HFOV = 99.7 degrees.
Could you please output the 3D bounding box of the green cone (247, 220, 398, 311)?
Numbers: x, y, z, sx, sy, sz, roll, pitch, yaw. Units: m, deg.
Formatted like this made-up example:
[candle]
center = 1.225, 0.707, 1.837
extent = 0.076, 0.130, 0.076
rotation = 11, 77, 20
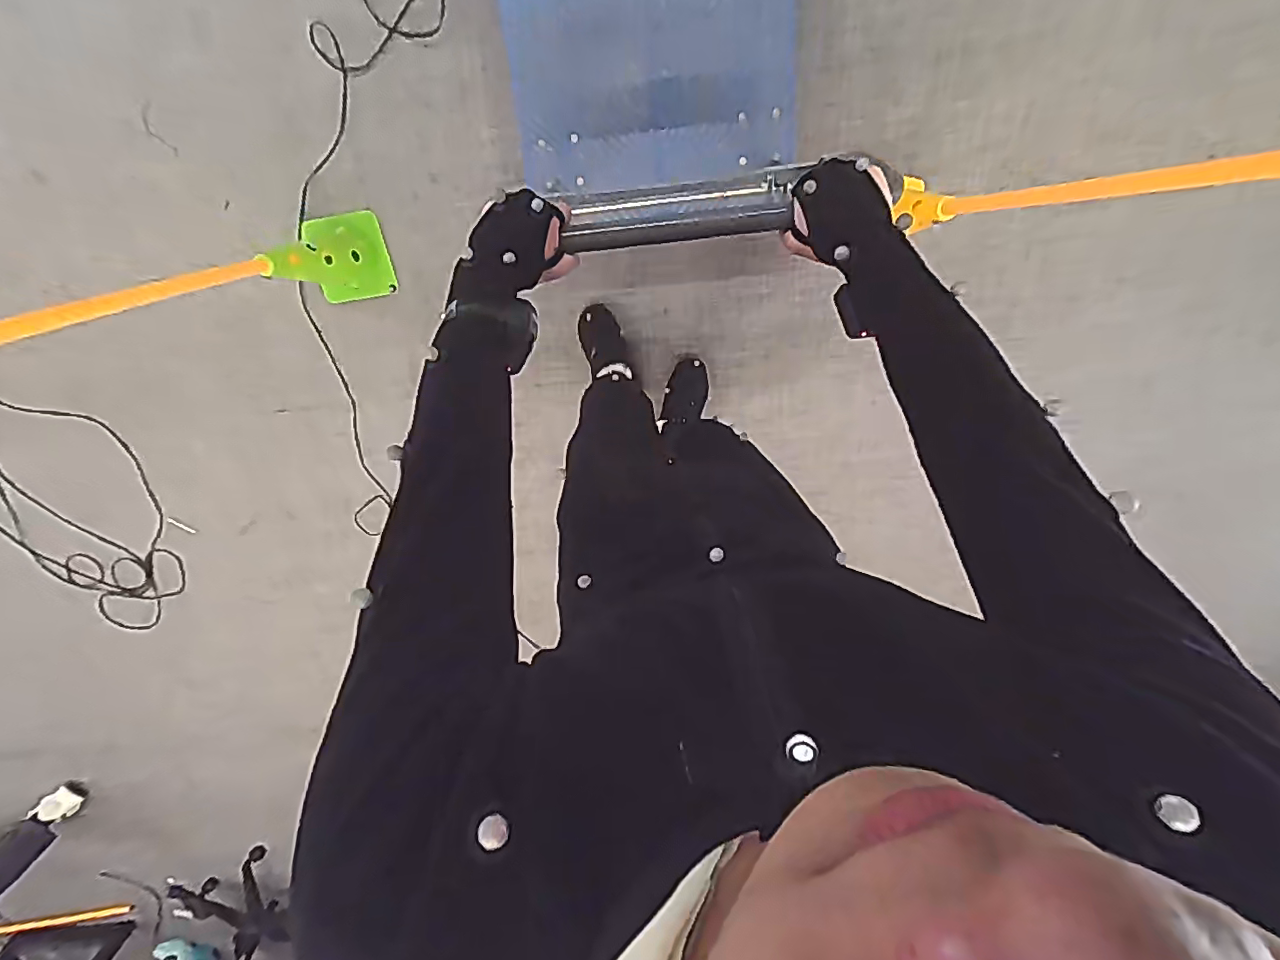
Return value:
[green cone]
center = -0.746, -0.481, 1.231
extent = 0.202, 0.368, 0.200
rotation = -8, 113, 6
